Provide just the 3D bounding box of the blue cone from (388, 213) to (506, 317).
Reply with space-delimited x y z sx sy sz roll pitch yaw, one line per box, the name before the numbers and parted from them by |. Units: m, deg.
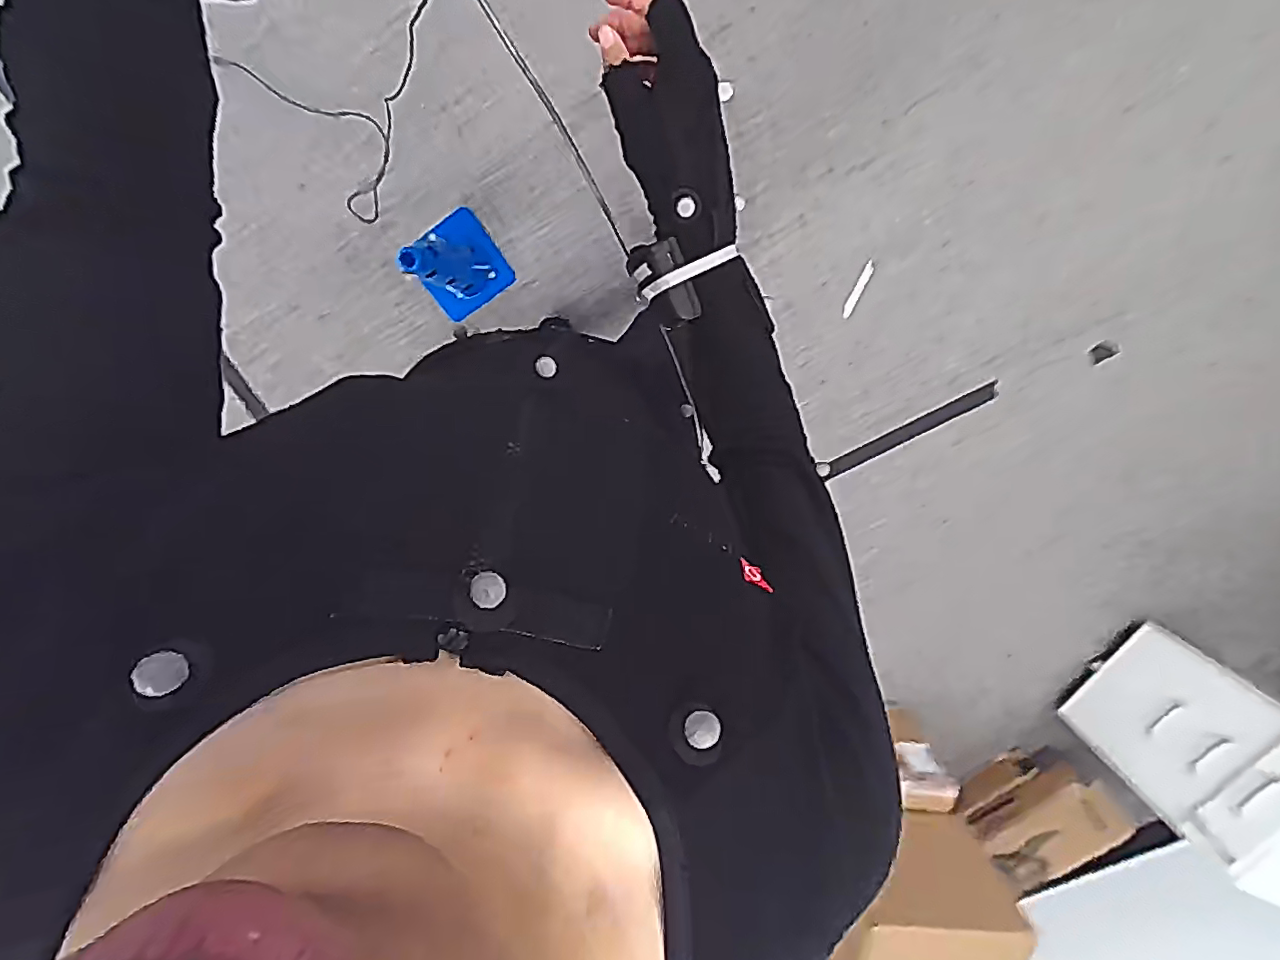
blue cone | -0.430 -0.454 1.134 0.192 0.380 0.193 -31 108 9
